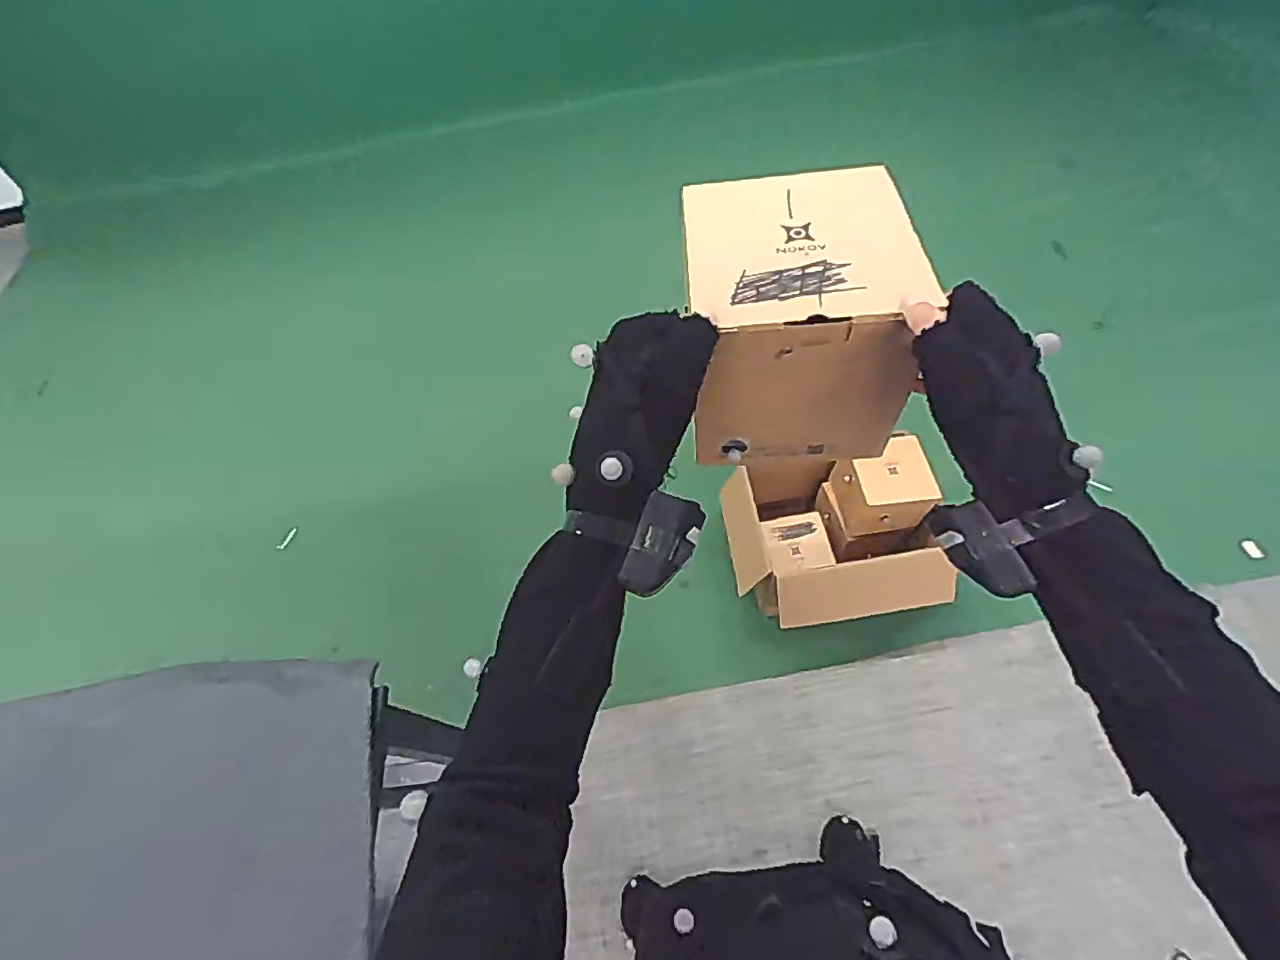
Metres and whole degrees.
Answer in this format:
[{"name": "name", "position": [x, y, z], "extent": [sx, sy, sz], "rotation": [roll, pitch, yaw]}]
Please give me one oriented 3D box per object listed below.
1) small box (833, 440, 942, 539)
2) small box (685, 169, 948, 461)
[{"name": "small box", "position": [0.578, 0.031, 1.287], "extent": [0.168, 0.176, 0.179], "rotation": [-7, 57, 1]}, {"name": "small box", "position": [0.126, -0.127, 0.460], "extent": [0.168, 0.176, 0.179], "rotation": [-3, 56, 6]}]
